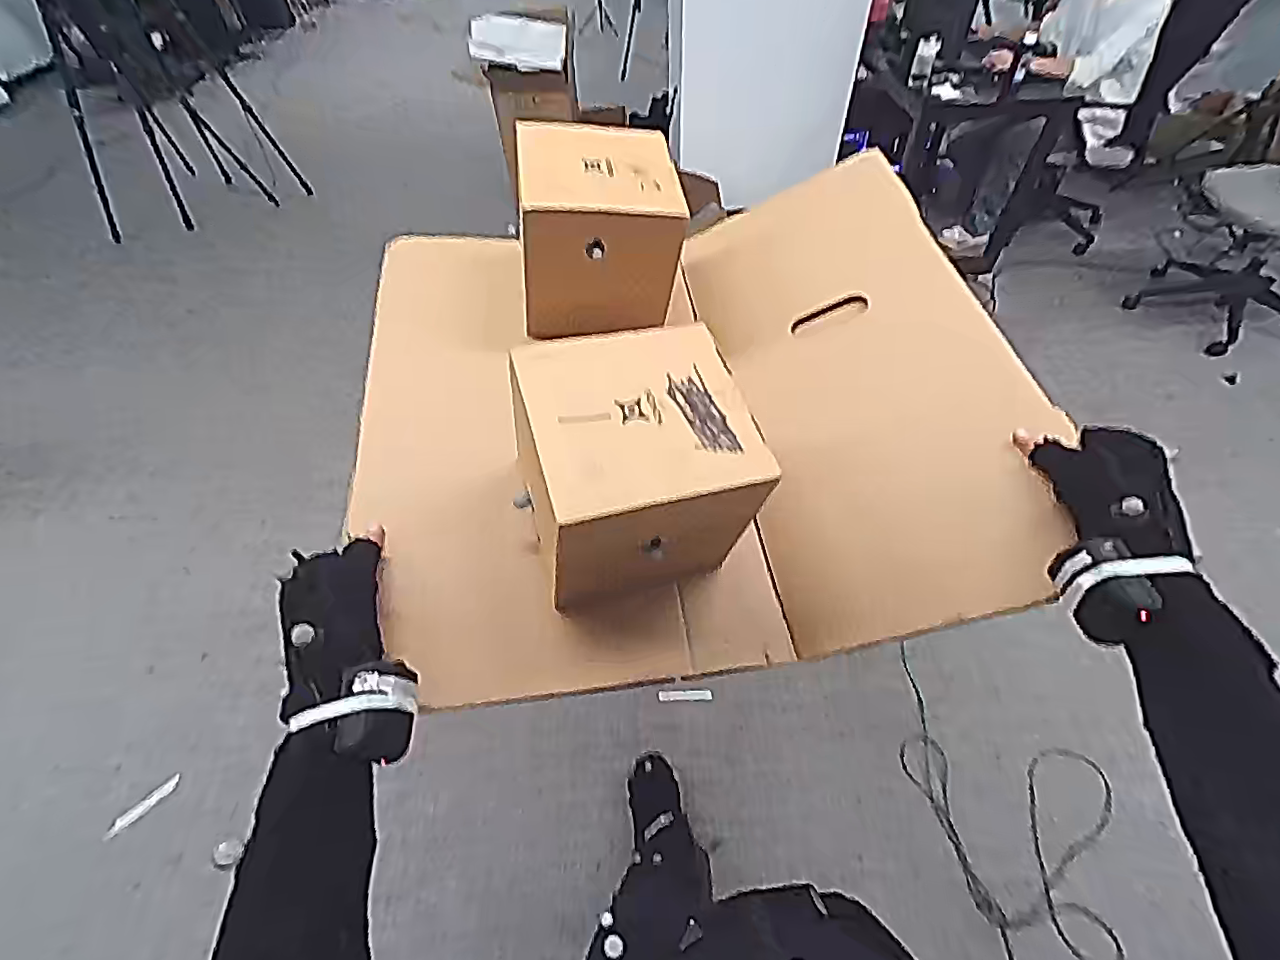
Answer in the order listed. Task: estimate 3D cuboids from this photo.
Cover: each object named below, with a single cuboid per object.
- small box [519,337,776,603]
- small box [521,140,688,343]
[{"bbox_3d":[-0.009,-0.005,0.500,0.179,0.176,0.168,-11,61,-16],"label":"small box"},{"bbox_3d":[-0.053,-0.287,0.671,0.179,0.176,0.168,-2,58,-11],"label":"small box"}]
